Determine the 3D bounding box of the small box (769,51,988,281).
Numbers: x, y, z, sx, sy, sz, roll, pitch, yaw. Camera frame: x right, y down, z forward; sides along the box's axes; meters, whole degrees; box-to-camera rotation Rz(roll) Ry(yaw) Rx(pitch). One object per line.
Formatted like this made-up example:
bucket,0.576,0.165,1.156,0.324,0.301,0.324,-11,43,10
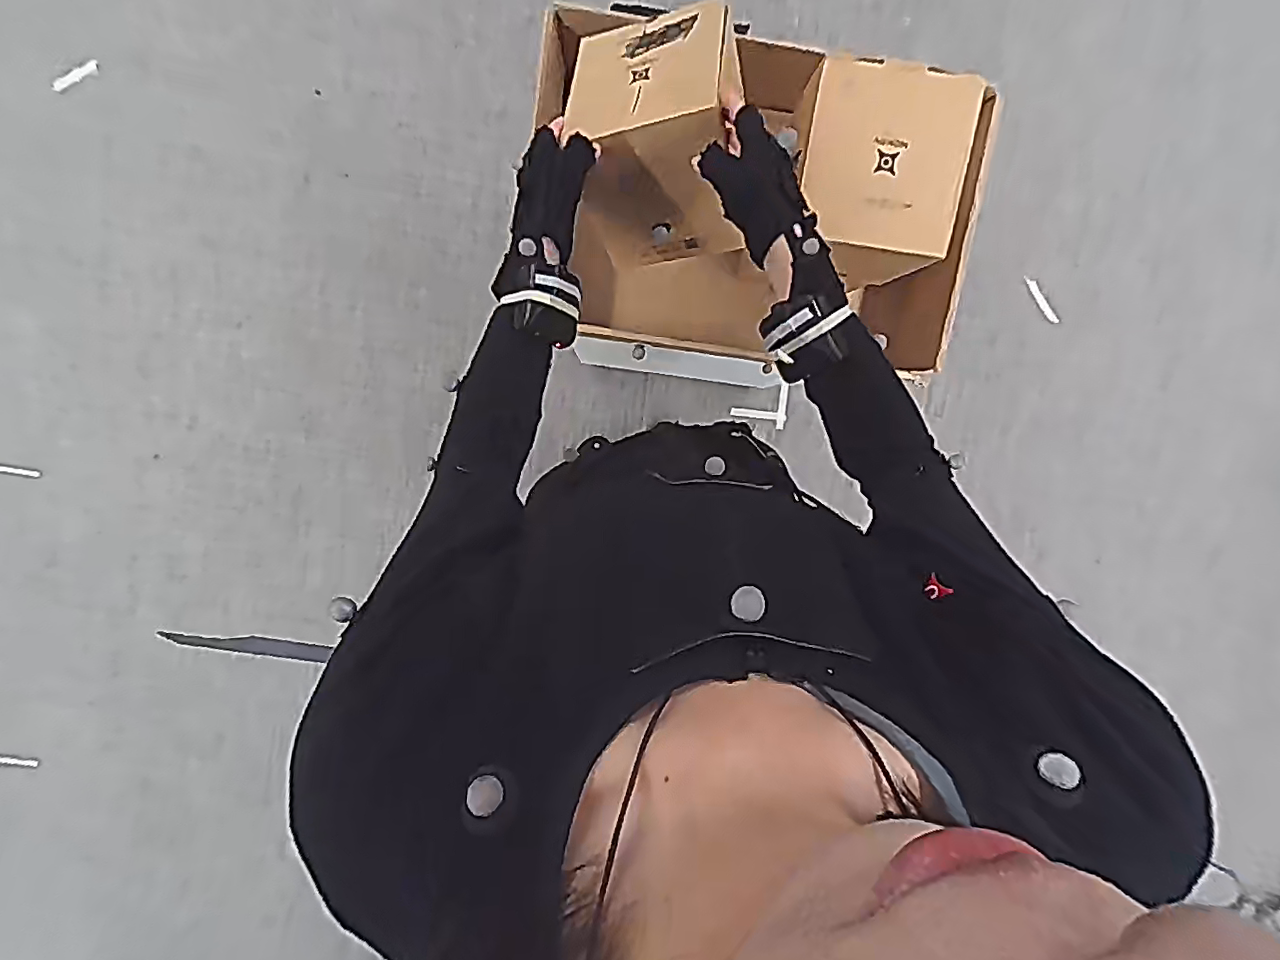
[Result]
small box,0.257,-0.345,0.629,0.168,0.176,0.179,7,101,0

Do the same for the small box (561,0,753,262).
small box,0.033,-0.381,0.611,0.168,0.176,0.179,-1,66,19

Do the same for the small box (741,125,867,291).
small box,0.259,-0.381,0.789,0.179,0.176,0.168,8,100,-1
